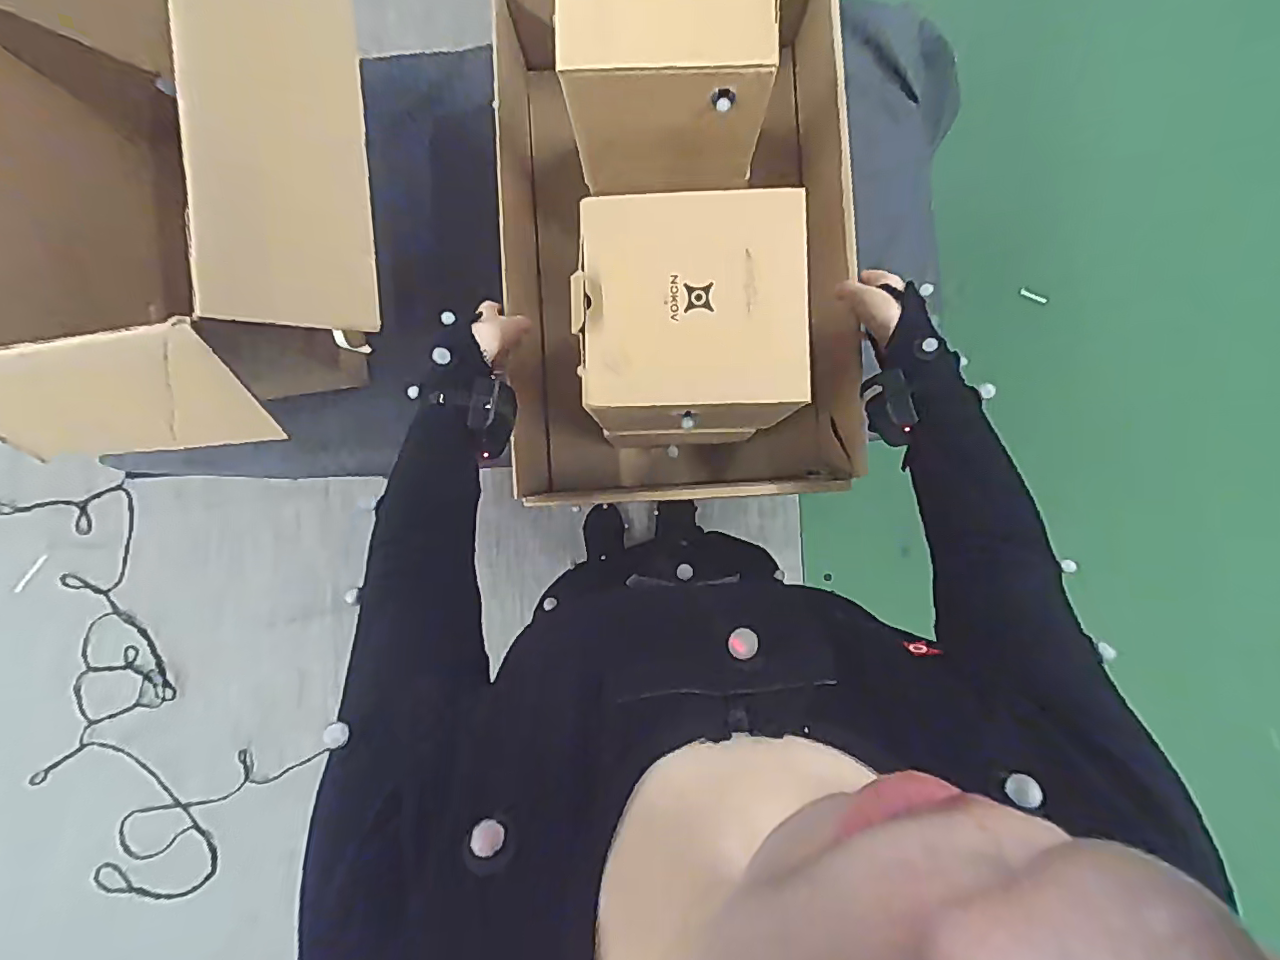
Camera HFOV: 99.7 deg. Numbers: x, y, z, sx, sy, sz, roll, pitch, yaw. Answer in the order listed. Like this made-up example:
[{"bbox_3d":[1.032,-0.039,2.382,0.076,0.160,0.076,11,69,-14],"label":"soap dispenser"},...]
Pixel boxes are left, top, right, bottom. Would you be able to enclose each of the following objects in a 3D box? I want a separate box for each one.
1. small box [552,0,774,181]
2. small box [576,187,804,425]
[{"bbox_3d":[0.020,-0.402,0.501,0.179,0.176,0.168,-1,91,1],"label":"small box"},{"bbox_3d":[0.043,-0.142,0.499,0.179,0.176,0.168,-2,90,2],"label":"small box"}]
